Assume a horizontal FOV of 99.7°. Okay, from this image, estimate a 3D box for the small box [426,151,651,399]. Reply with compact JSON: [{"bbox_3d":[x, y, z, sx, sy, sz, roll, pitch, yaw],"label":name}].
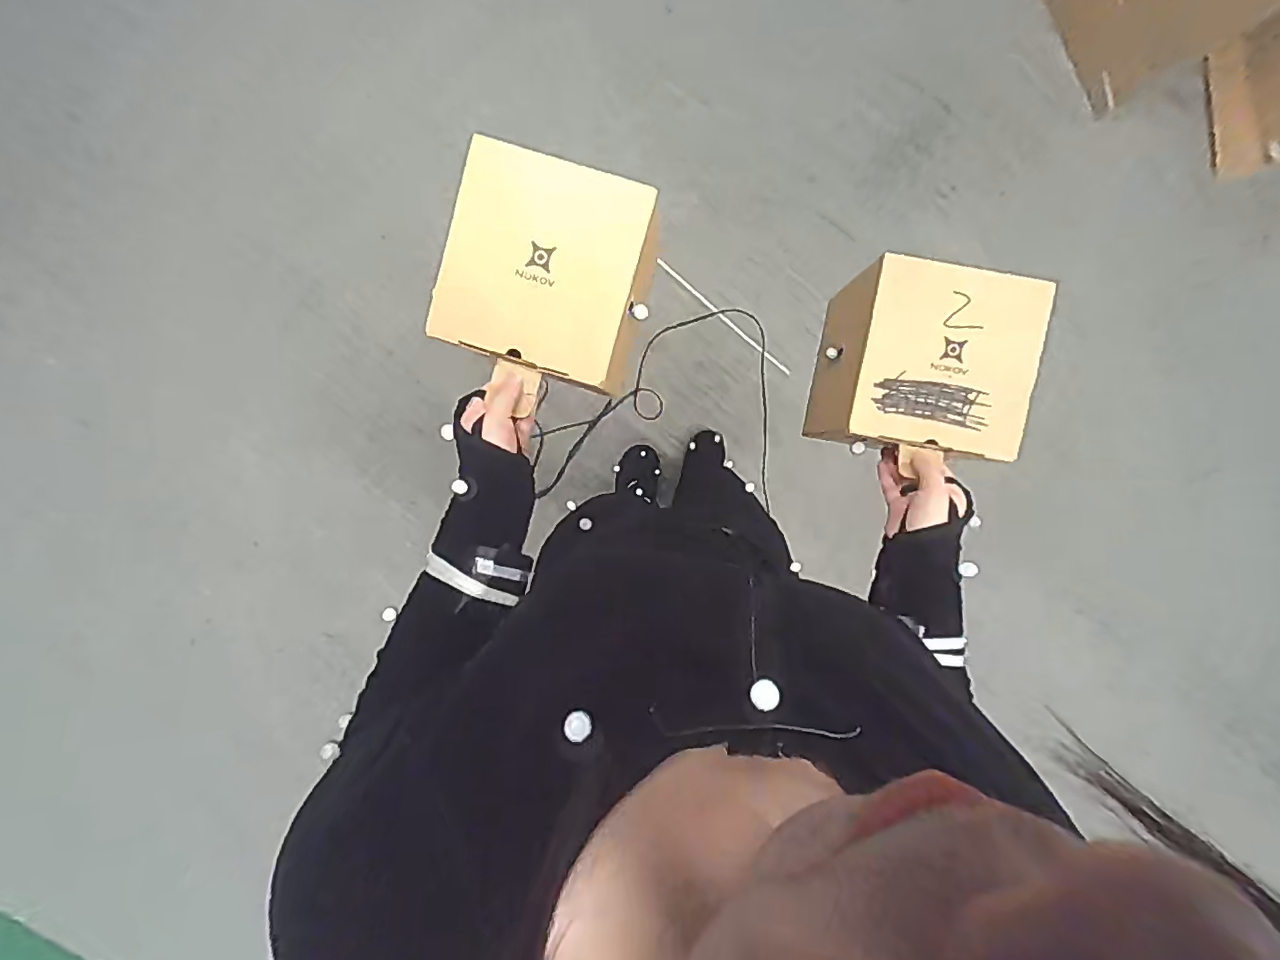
[{"bbox_3d":[-0.091,-0.191,0.559,0.168,0.176,0.179,16,97,0],"label":"small box"}]
